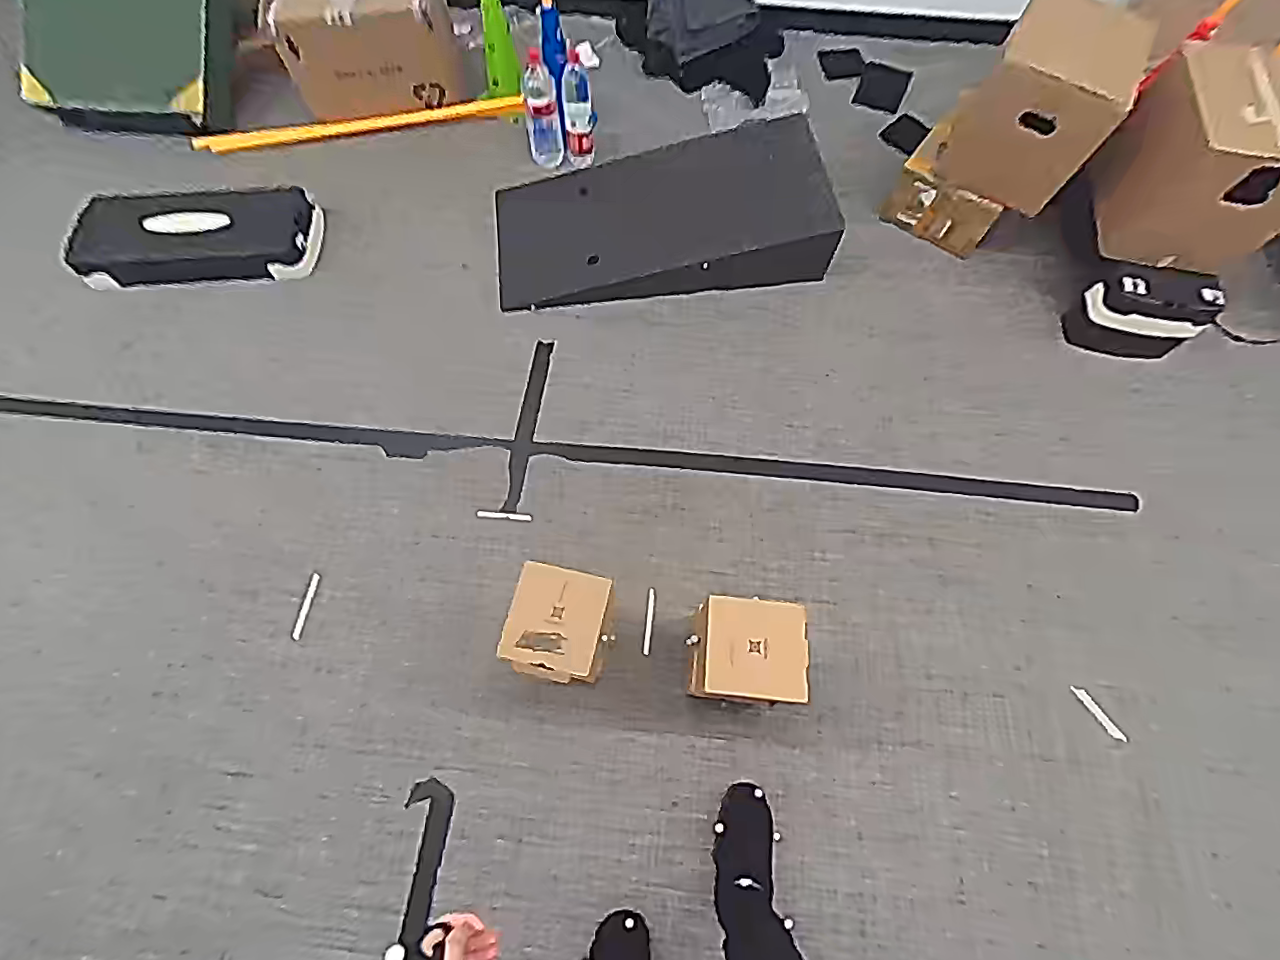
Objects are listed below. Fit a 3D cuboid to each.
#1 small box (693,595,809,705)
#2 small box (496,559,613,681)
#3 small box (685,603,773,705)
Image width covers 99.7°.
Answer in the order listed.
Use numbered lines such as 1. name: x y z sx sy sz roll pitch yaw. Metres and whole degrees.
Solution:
1. small box: 0.199 0.319 0.999 0.179 0.176 0.168 6 66 2
2. small box: -0.148 0.269 1.011 0.168 0.176 0.179 12 67 4
3. small box: 0.190 0.375 1.152 0.168 0.176 0.179 8 68 3
